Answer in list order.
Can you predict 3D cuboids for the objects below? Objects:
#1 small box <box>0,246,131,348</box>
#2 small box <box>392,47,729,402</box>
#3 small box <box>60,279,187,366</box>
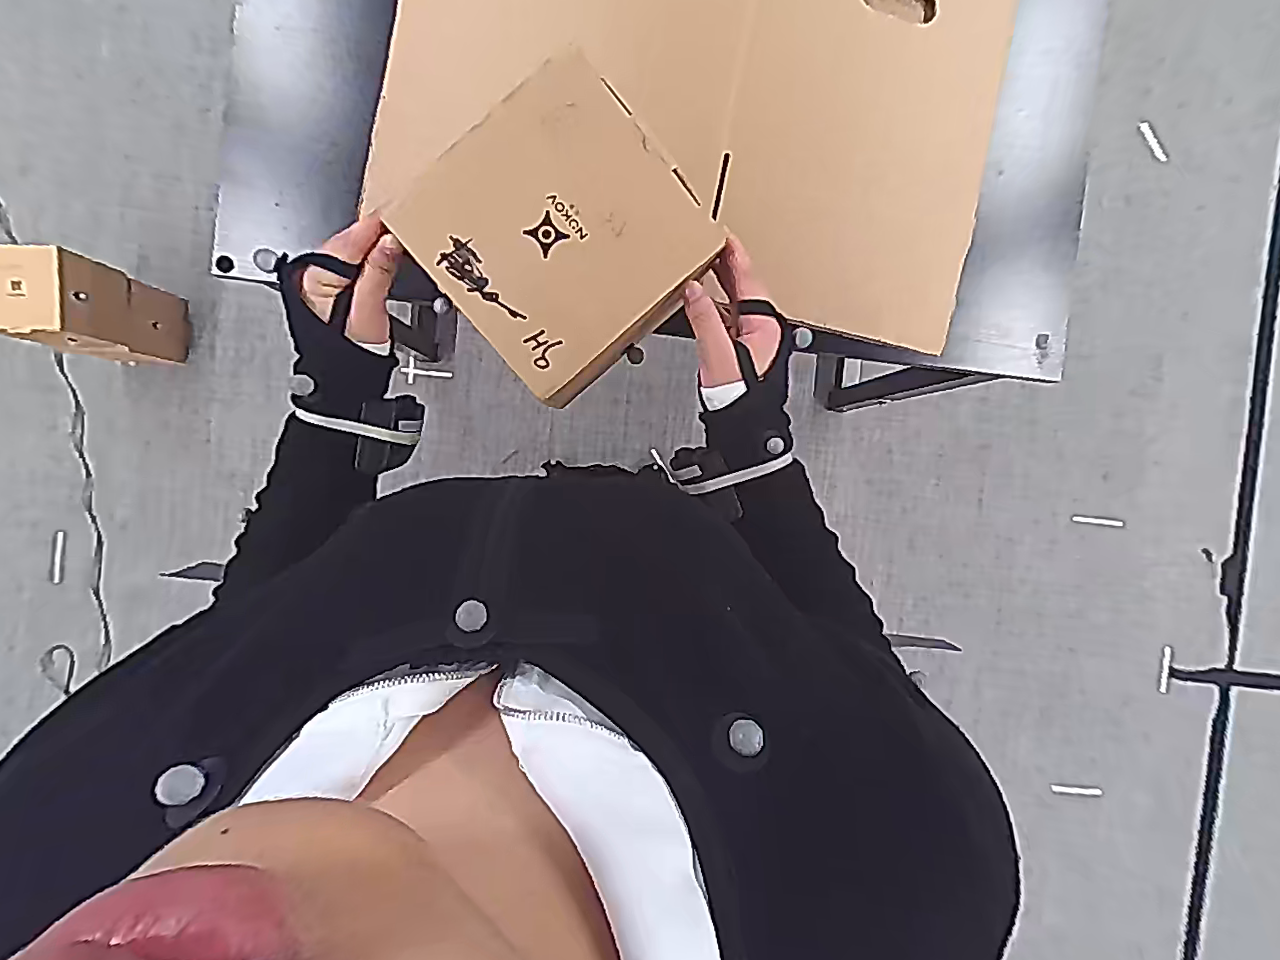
[{"bbox_3d":[-1.268,-0.391,1.181,0.168,0.176,0.179,-1,91,-4],"label":"small box"},{"bbox_3d":[-0.058,-0.183,0.450,0.179,0.176,0.168,-41,96,0],"label":"small box"},{"bbox_3d":[-1.275,-0.390,1.344,0.168,0.176,0.179,2,92,-3],"label":"small box"}]
